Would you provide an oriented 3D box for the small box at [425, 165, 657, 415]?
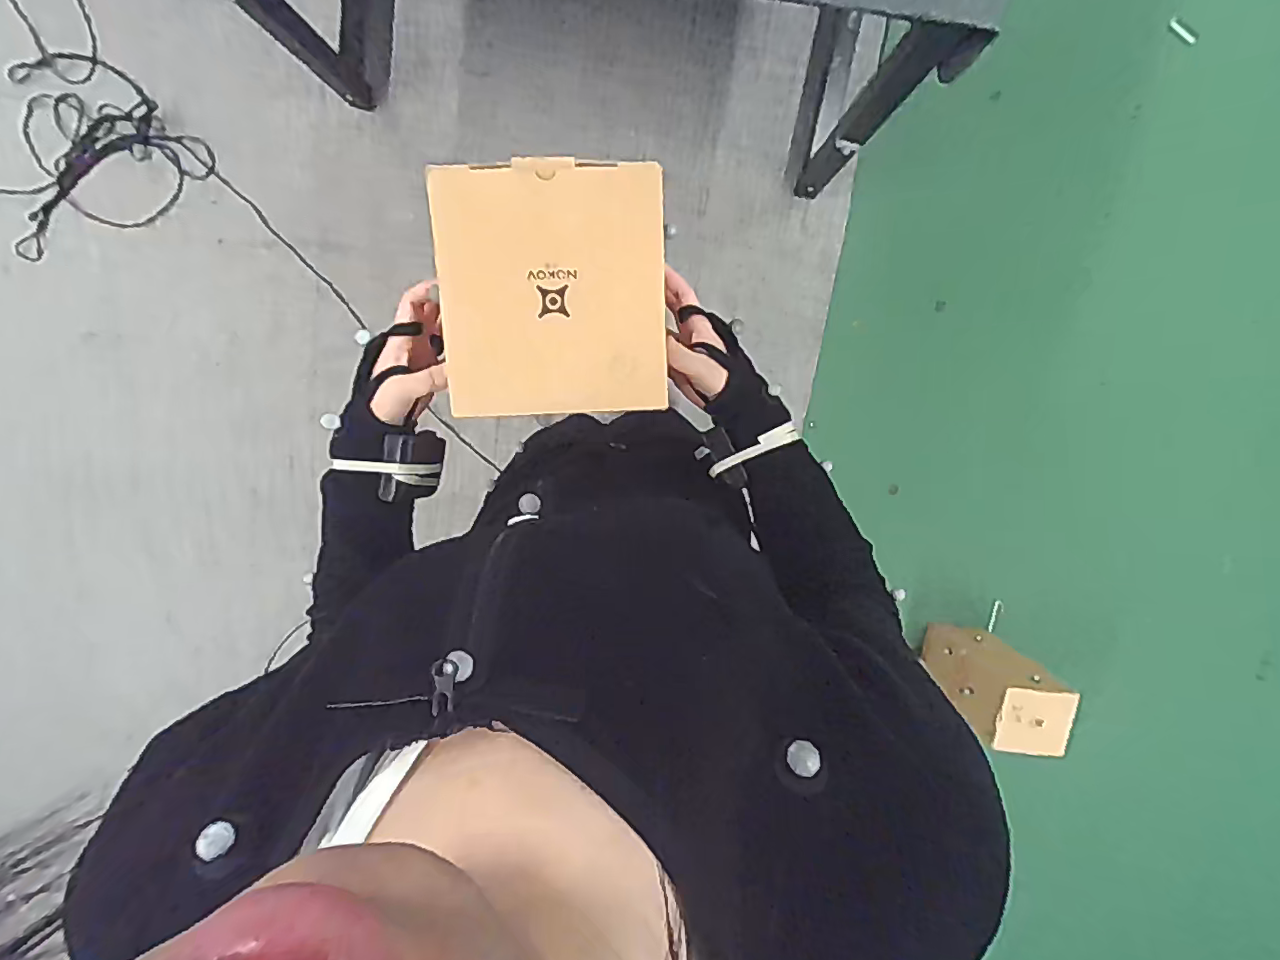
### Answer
[{"bbox_3d":[-0.072,-0.152,0.475,0.168,0.176,0.179,-2,100,-4],"label":"small box"}]

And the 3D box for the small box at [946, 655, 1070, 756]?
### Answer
[{"bbox_3d":[0.911,0.557,1.353,0.179,0.176,0.168,6,100,-1],"label":"small box"}]
